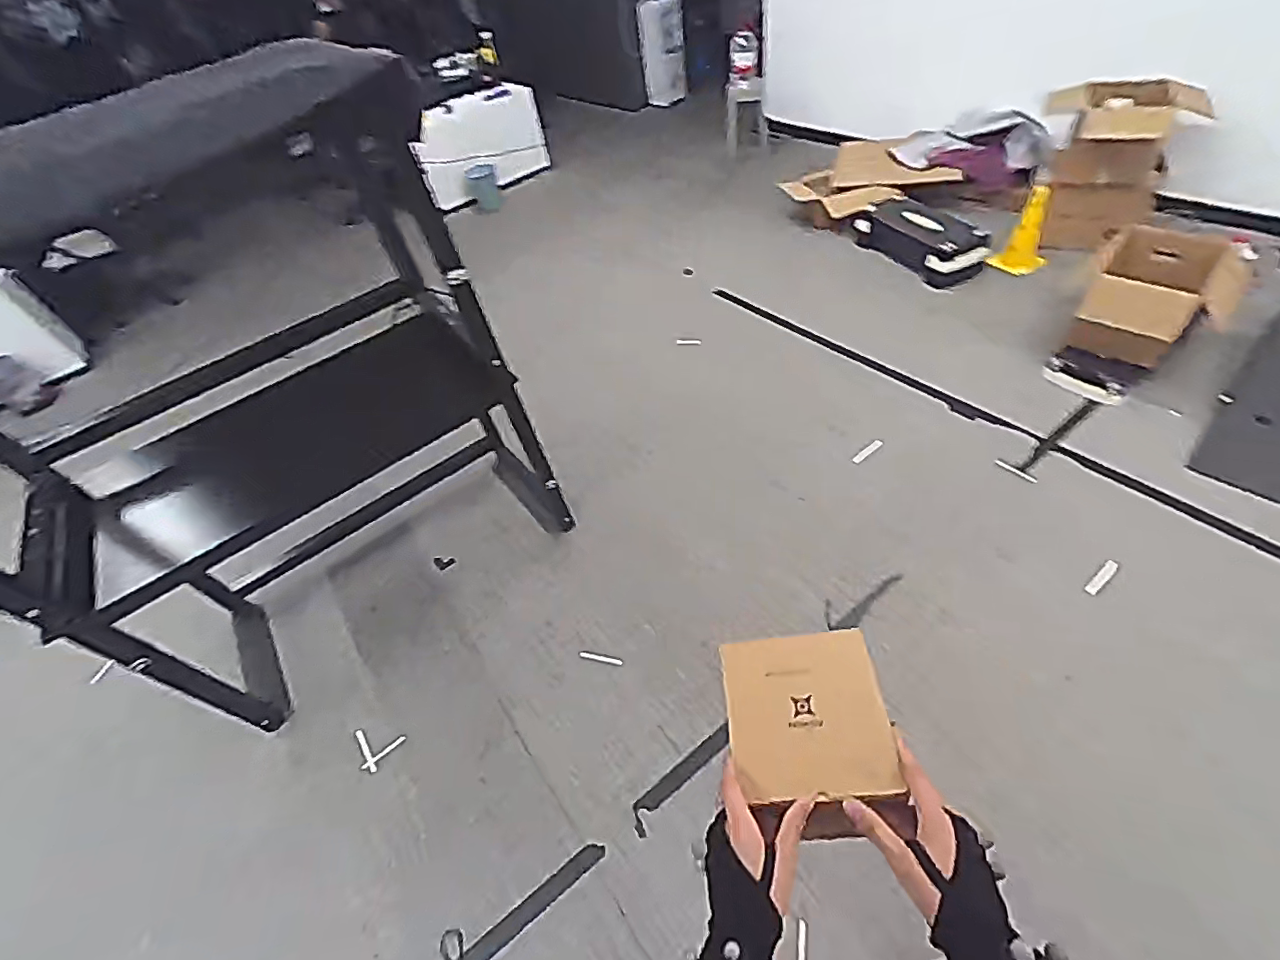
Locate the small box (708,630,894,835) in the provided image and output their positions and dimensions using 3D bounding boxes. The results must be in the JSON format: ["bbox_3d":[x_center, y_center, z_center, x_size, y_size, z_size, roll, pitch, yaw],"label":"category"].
[{"bbox_3d":[0.181,0.303,0.637,0.168,0.176,0.179,-10,46,8],"label":"small box"}]
